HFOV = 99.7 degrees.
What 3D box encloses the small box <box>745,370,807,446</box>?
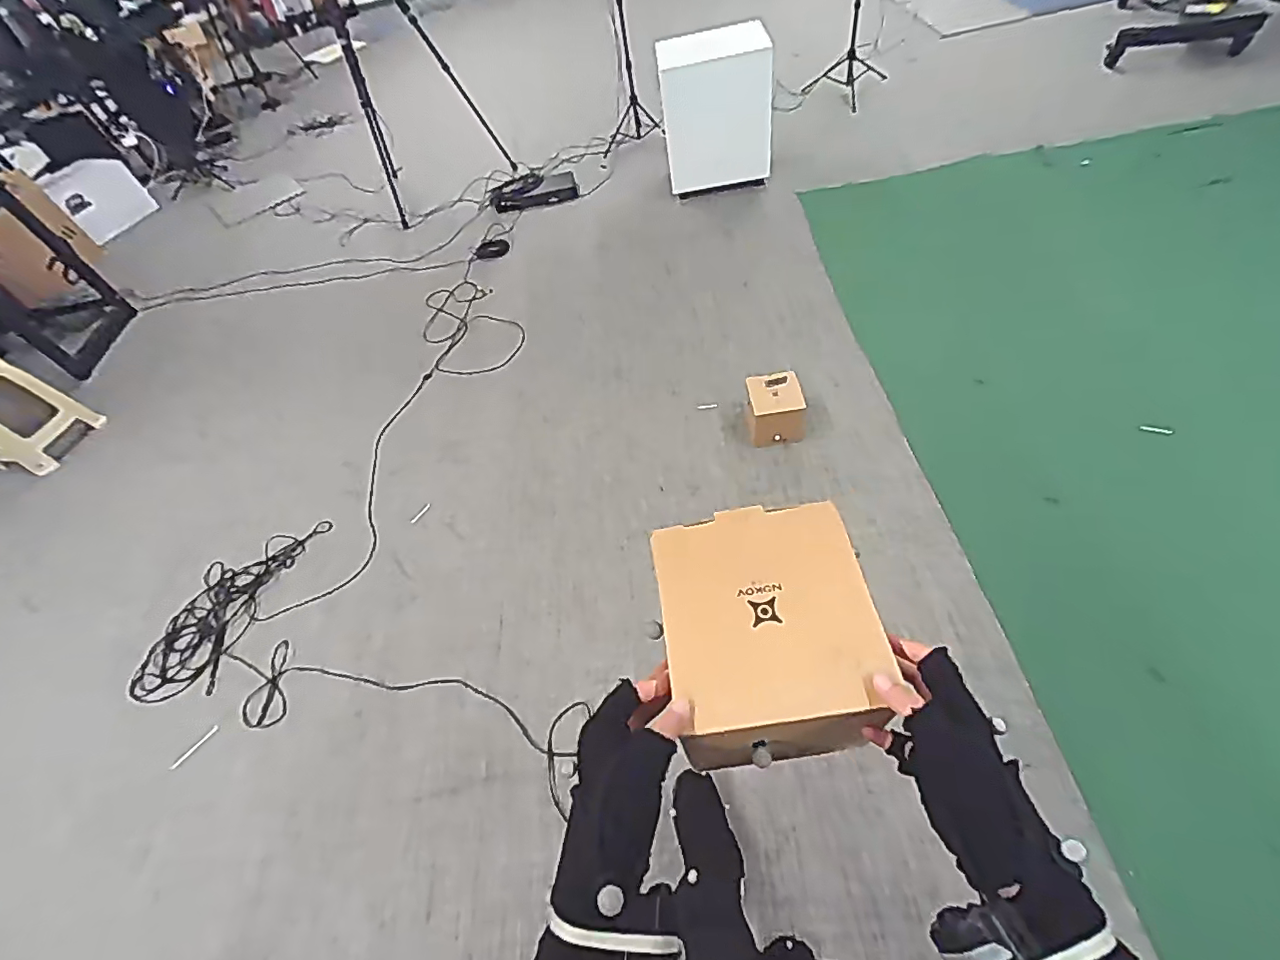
[{"bbox_3d":[0.450,-0.240,1.817,0.168,0.176,0.179,-8,54,5],"label":"small box"}]
